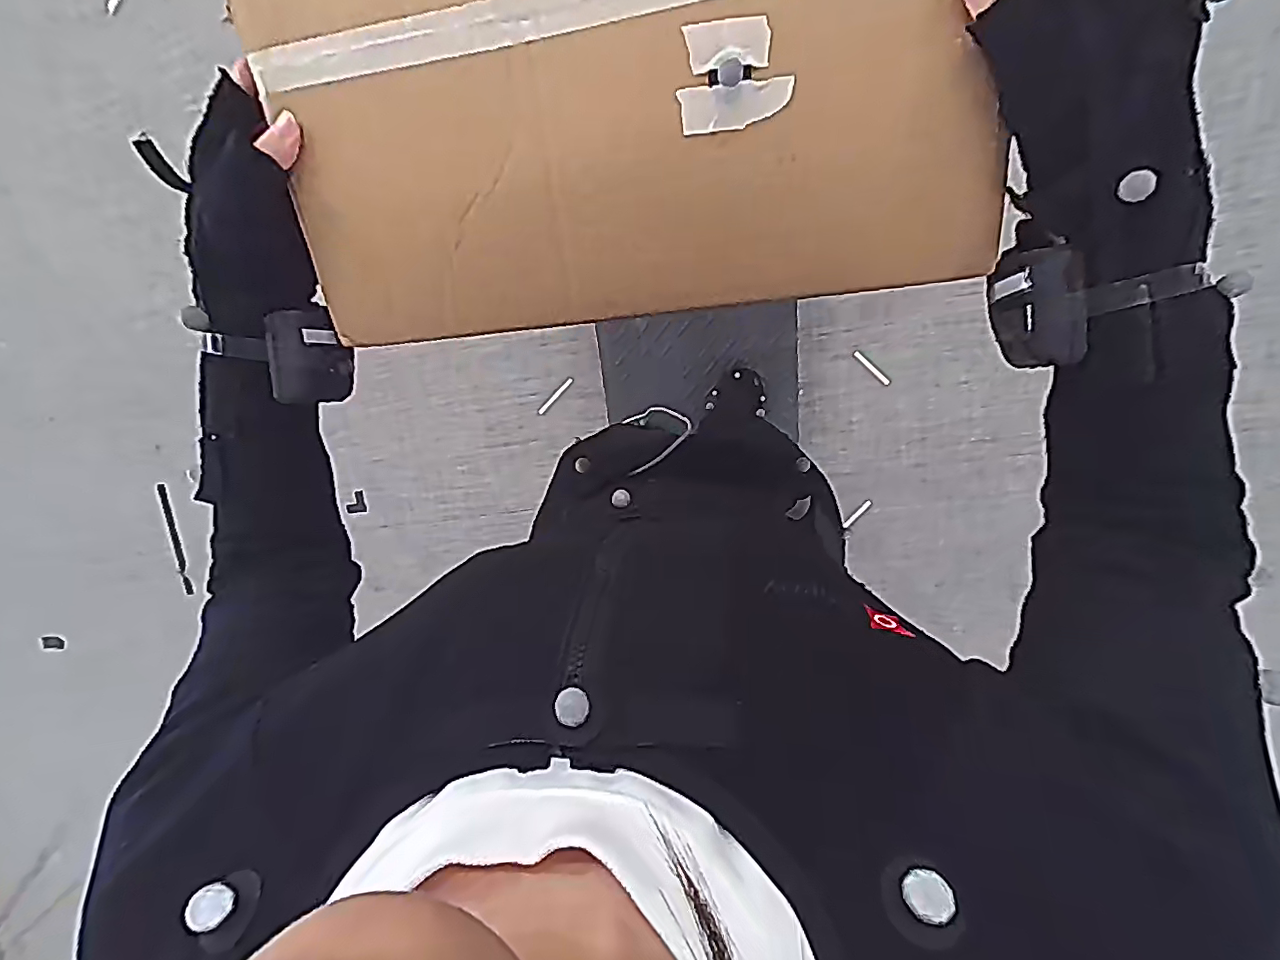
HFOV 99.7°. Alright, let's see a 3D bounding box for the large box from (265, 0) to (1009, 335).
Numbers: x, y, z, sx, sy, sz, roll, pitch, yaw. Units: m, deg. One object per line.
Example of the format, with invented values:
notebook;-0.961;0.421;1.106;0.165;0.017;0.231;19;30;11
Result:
large box;0.002;-0.312;0.425;0.408;0.320;0.320;-4;112;9
